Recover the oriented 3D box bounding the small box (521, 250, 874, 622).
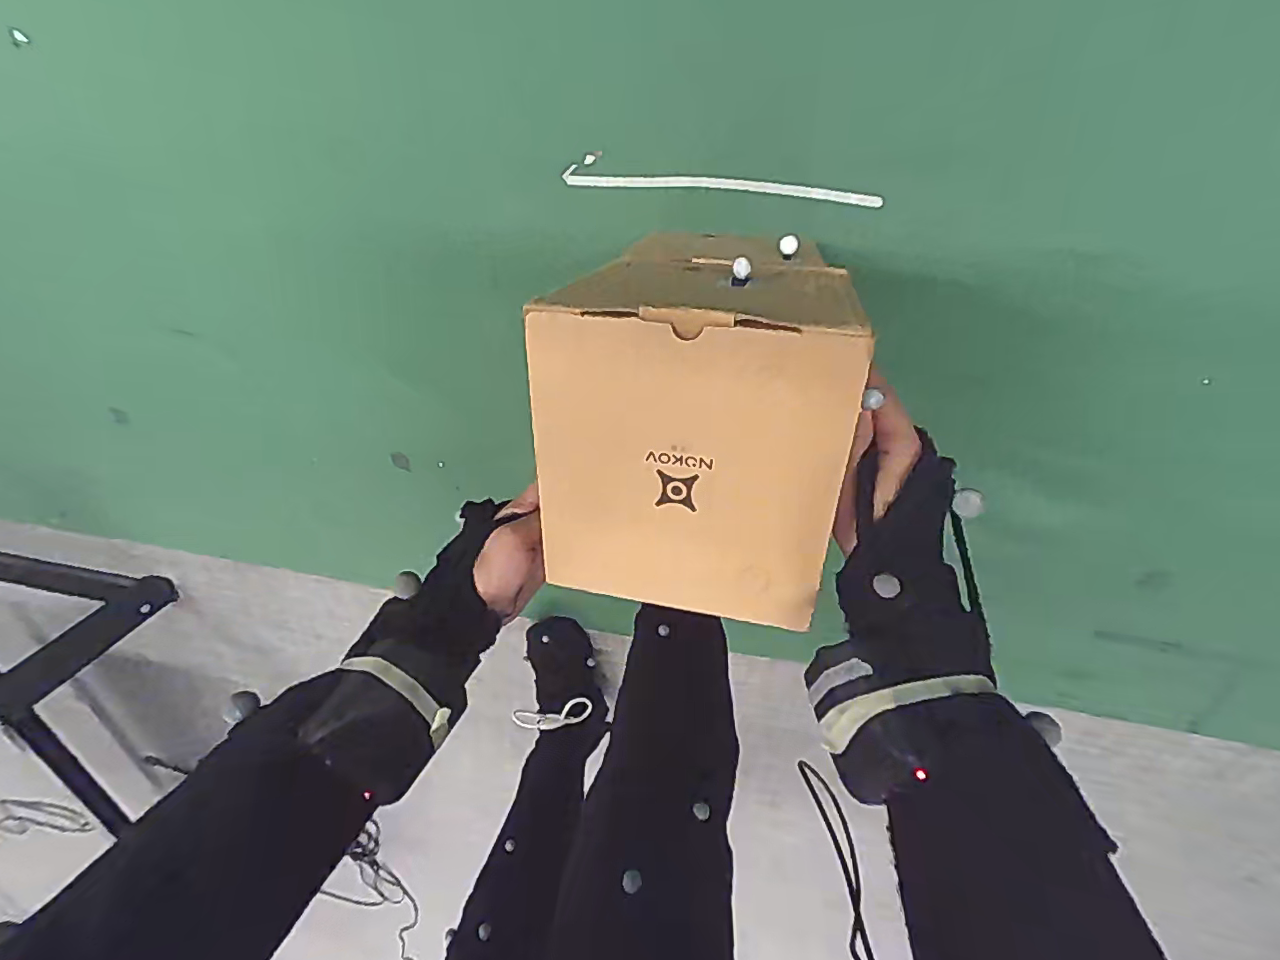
[{"bbox_3d":[0.041,-0.043,0.351,0.168,0.176,0.179,8,120,13],"label":"small box"}]
